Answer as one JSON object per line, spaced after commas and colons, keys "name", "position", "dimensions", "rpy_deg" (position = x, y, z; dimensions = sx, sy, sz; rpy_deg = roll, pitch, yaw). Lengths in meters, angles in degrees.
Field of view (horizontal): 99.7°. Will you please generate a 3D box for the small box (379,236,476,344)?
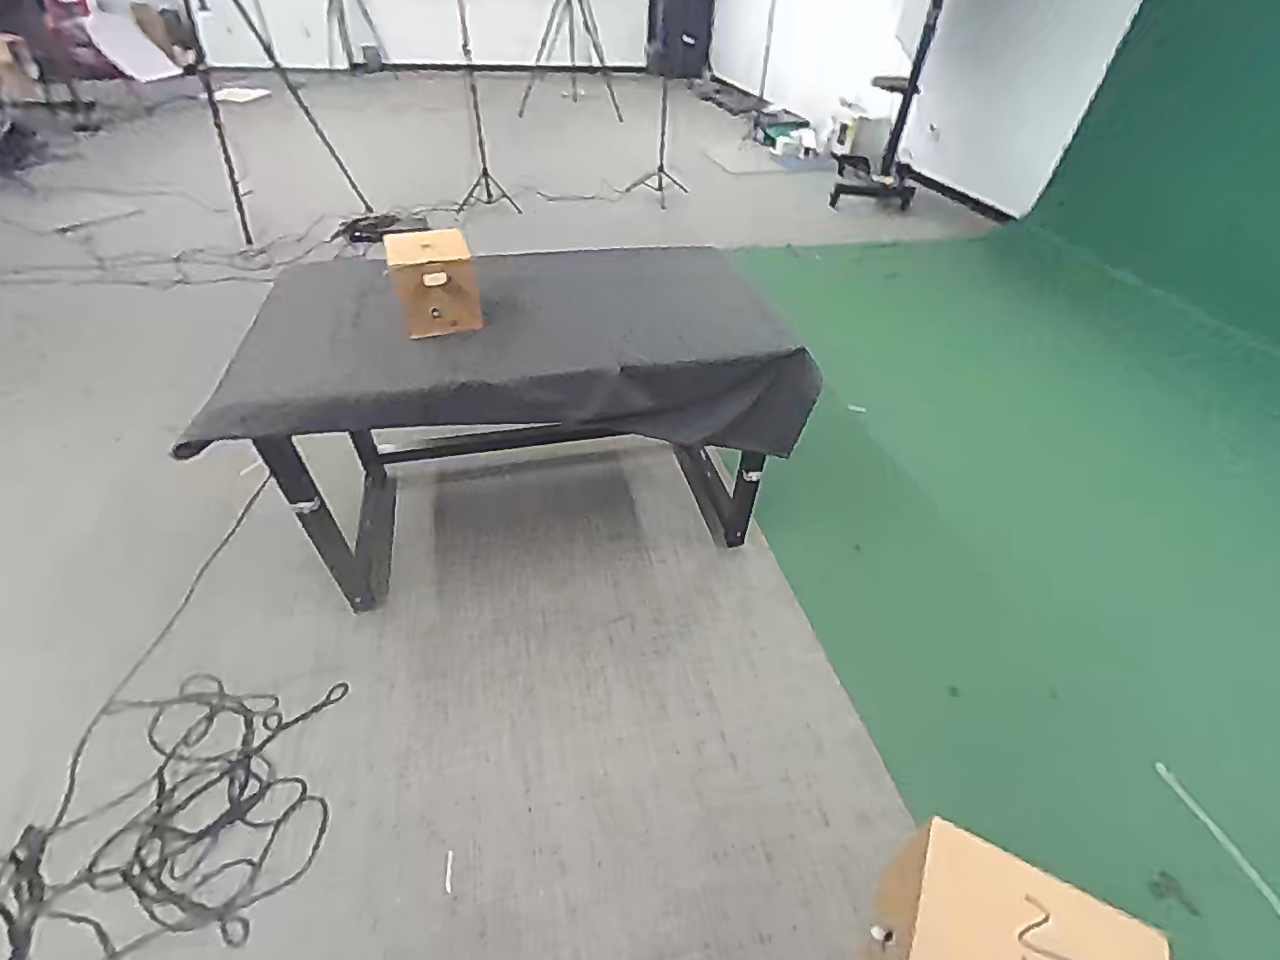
{"name": "small box", "position": [-0.475, -0.429, 1.216], "dimensions": [0.168, 0.176, 0.179], "rpy_deg": [-14, 47, -18]}
